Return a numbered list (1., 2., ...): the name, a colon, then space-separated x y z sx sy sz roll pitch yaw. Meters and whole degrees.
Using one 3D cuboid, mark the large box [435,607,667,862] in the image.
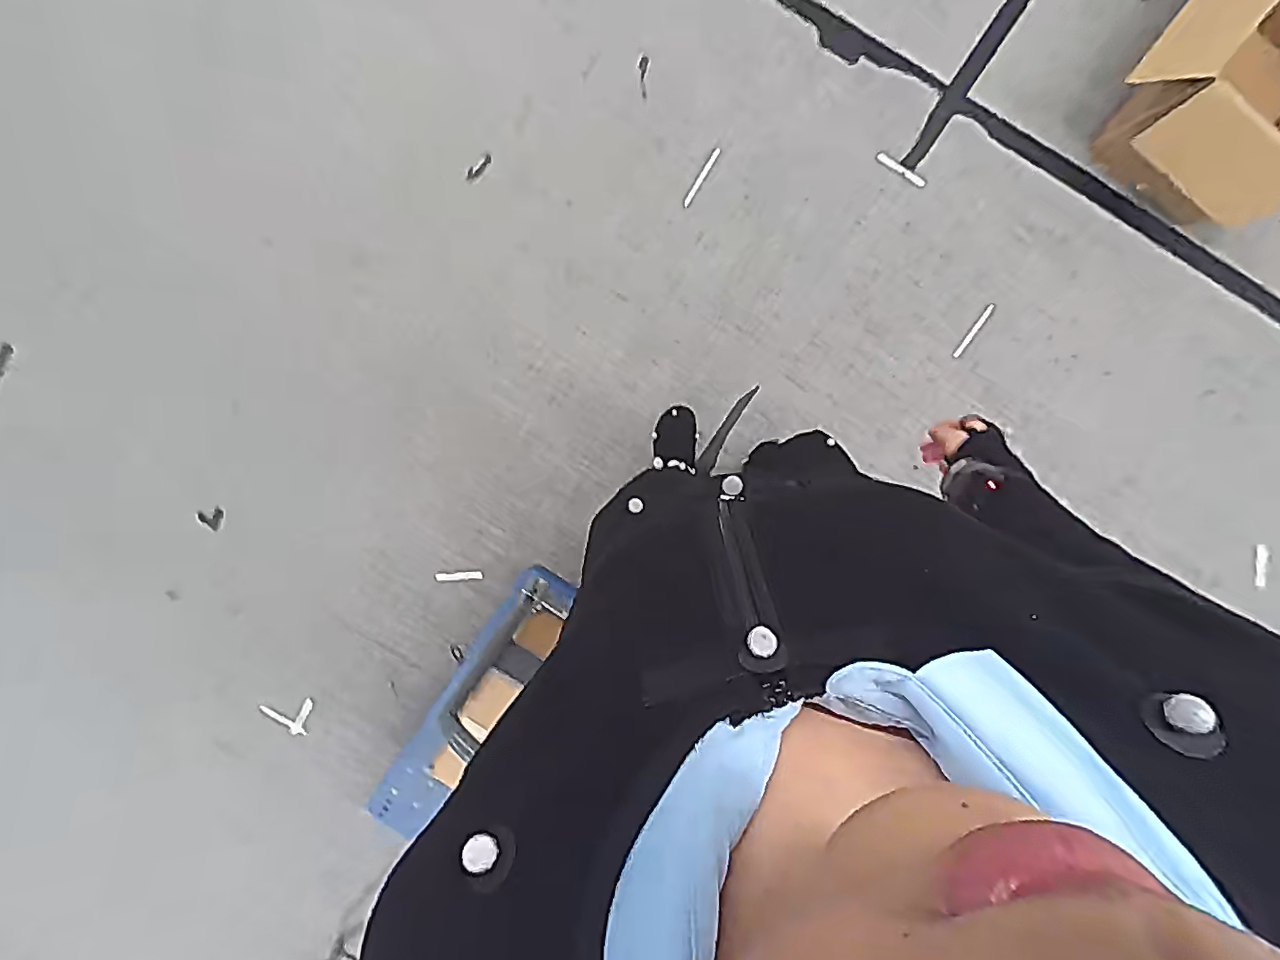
1. large box: -0.181 0.575 1.283 0.408 0.320 0.320 33 98 -1
